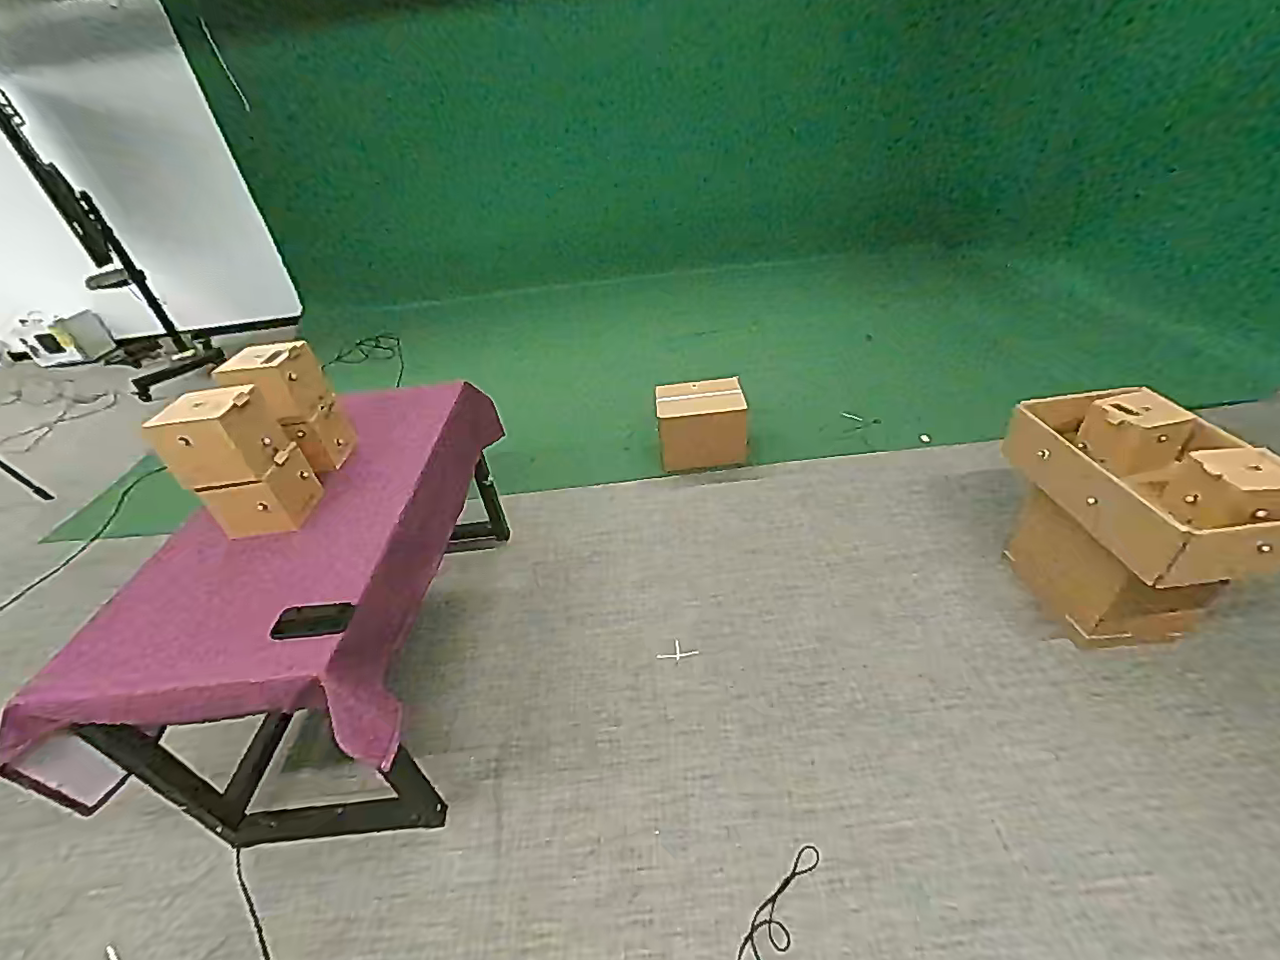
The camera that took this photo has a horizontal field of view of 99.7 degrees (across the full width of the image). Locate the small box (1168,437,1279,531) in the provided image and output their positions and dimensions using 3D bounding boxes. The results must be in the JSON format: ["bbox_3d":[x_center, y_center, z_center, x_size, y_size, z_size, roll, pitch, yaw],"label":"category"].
[{"bbox_3d":[1.471,0.013,1.337,0.179,0.176,0.168,-4,37,7],"label":"small box"}]

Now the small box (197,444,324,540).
[{"bbox_3d":[-0.943,0.031,1.368,0.179,0.176,0.168,-8,36,2],"label":"small box"}]

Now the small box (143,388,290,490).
[{"bbox_3d":[-0.972,-0.093,1.262,0.179,0.176,0.168,-8,36,1],"label":"small box"}]

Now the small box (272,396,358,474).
[{"bbox_3d":[-0.967,-0.125,1.580,0.179,0.176,0.168,-7,37,1],"label":"small box"}]
